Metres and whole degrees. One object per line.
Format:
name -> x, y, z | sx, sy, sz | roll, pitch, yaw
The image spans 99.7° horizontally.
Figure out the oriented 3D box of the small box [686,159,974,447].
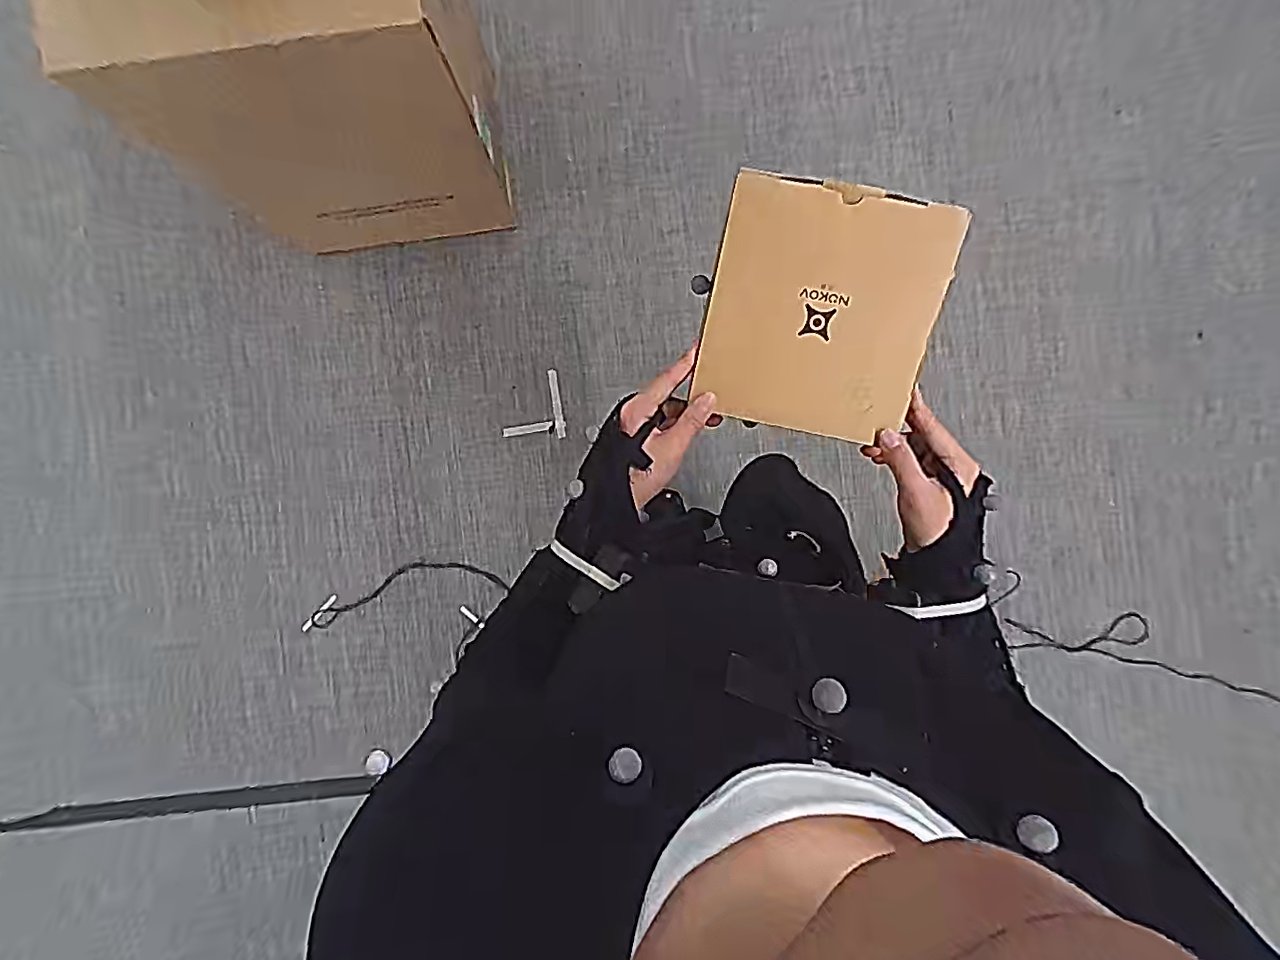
small box -> 0.139, -0.143, 0.465 | 0.168, 0.176, 0.179 | 11, 105, 3
